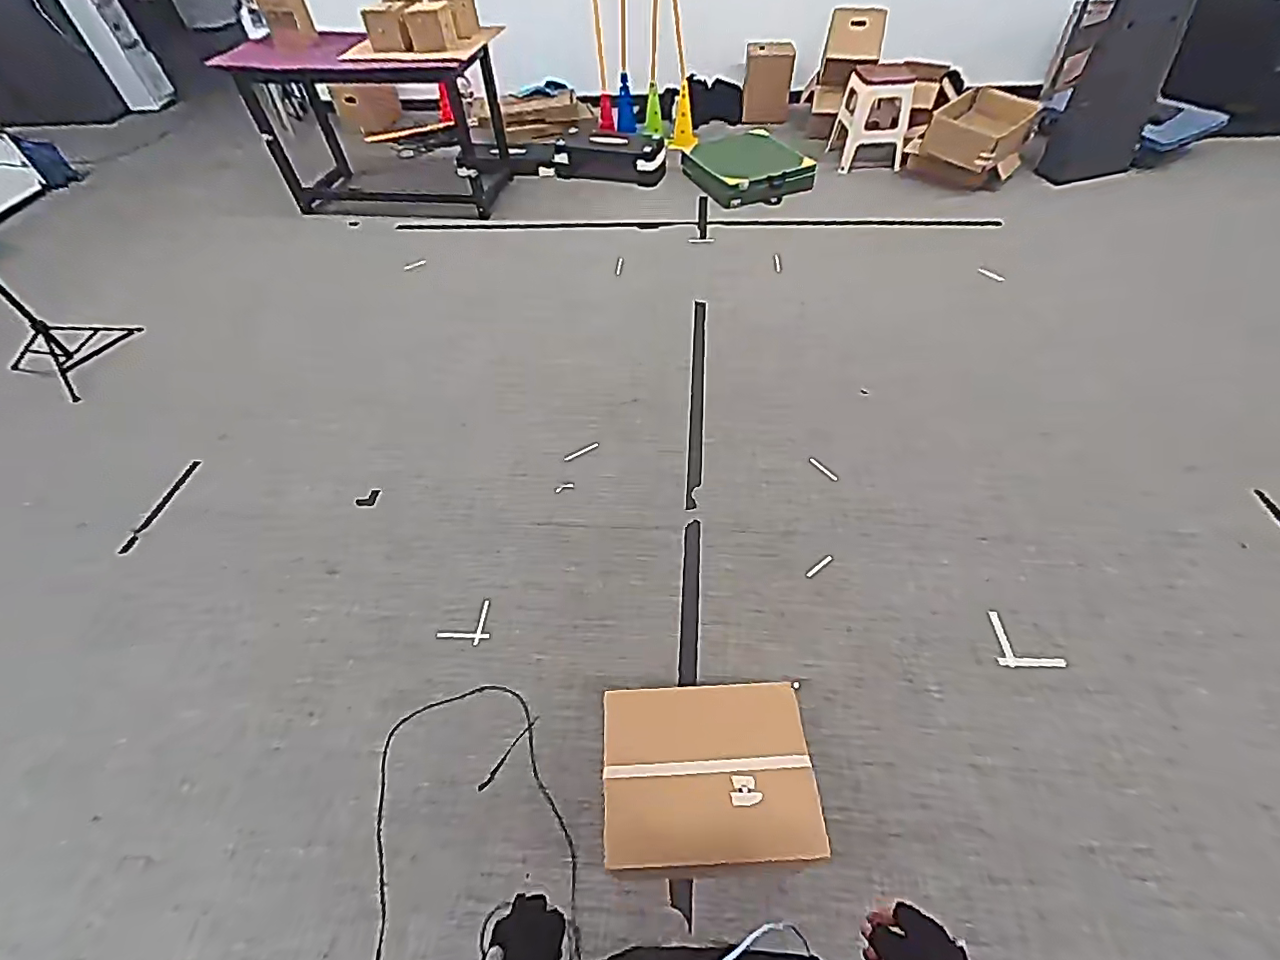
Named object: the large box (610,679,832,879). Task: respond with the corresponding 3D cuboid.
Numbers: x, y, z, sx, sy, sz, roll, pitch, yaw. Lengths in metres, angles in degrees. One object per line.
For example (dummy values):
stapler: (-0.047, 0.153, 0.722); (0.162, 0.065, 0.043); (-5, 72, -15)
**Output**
large box: (0.145, 0.653, 1.175); (0.408, 0.320, 0.320); (-3, 51, 0)
